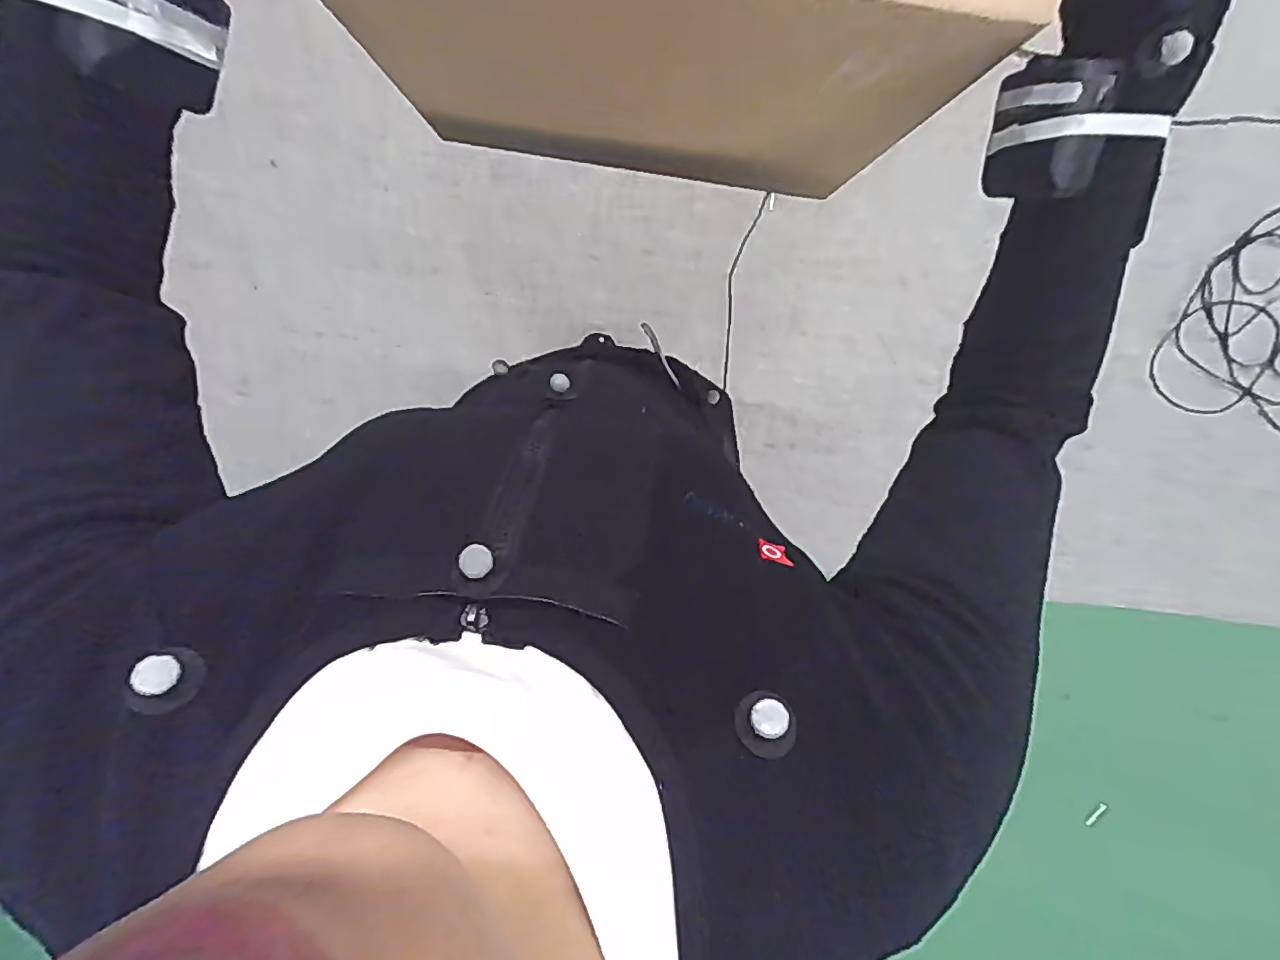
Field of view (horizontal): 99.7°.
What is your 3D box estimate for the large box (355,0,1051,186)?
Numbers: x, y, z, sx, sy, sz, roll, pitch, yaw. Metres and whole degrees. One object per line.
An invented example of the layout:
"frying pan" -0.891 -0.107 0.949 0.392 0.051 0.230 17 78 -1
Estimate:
"large box" 0.026 -0.441 0.381 0.408 0.320 0.320 6 104 -4
